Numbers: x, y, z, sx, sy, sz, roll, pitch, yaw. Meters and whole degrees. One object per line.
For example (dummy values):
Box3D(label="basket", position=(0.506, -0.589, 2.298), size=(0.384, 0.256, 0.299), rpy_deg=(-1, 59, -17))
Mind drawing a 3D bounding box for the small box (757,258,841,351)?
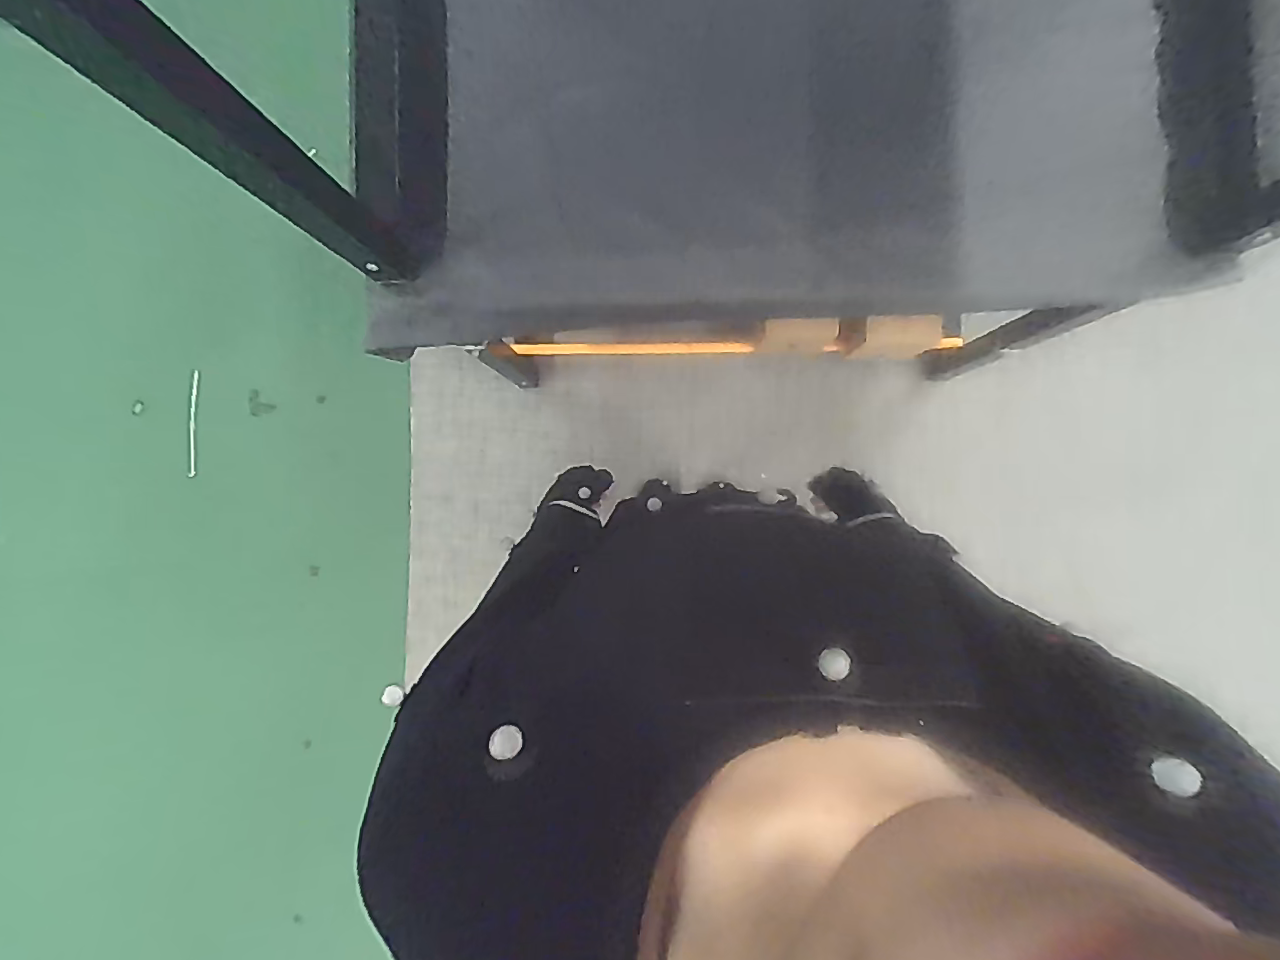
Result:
Box3D(label="small box", position=(0.375, -0.411, 1.294), size=(0.168, 0.176, 0.179), rpy_deg=(-1, 90, 4))
